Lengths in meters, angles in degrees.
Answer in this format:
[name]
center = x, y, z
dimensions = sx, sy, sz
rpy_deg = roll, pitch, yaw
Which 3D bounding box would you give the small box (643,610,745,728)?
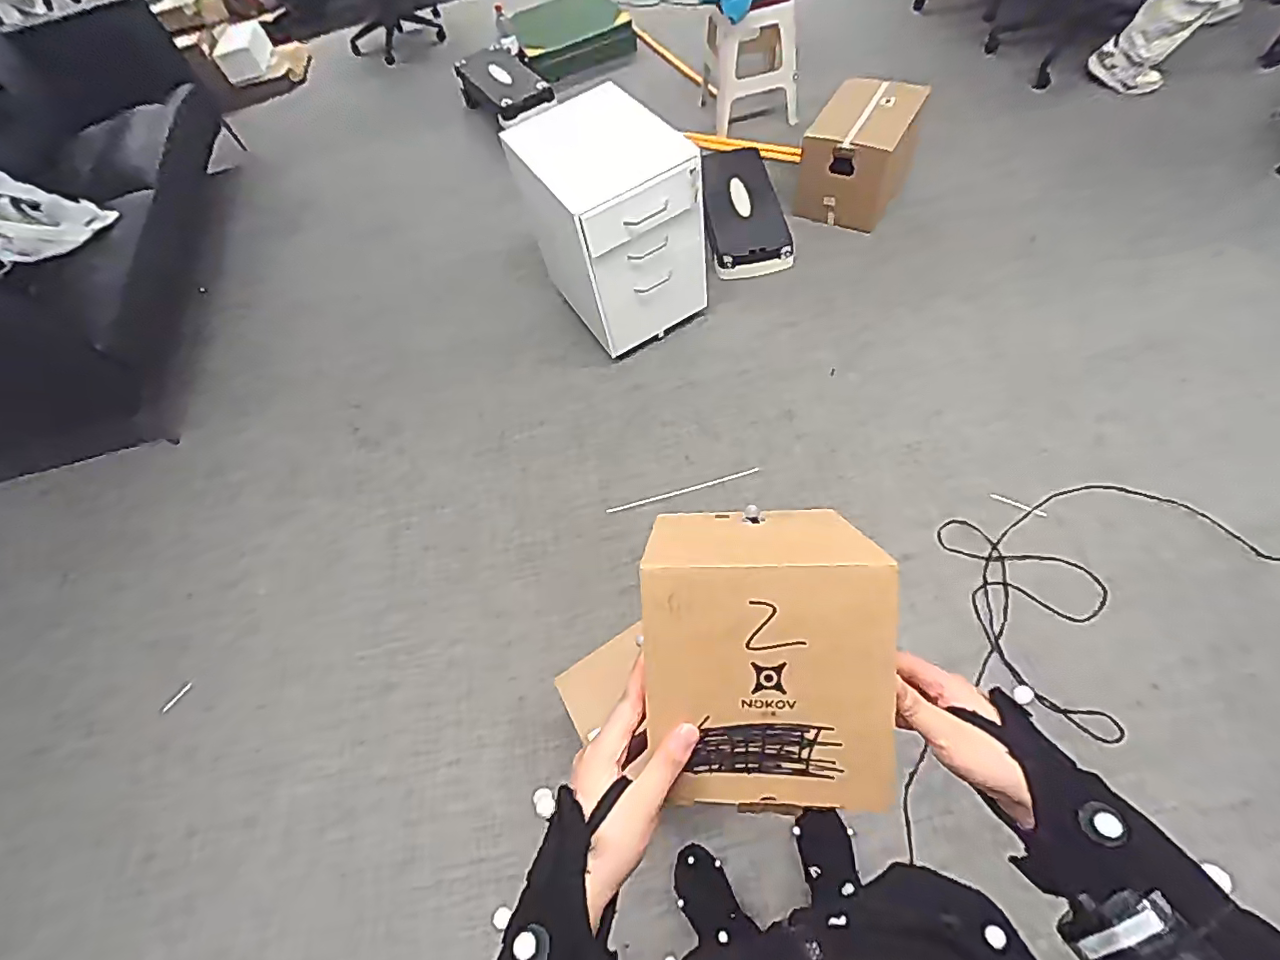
[small box]
center = 0.108, 0.357, 1.010
dimensions = 0.168, 0.176, 0.179
rpy_deg = 4, 64, 11
